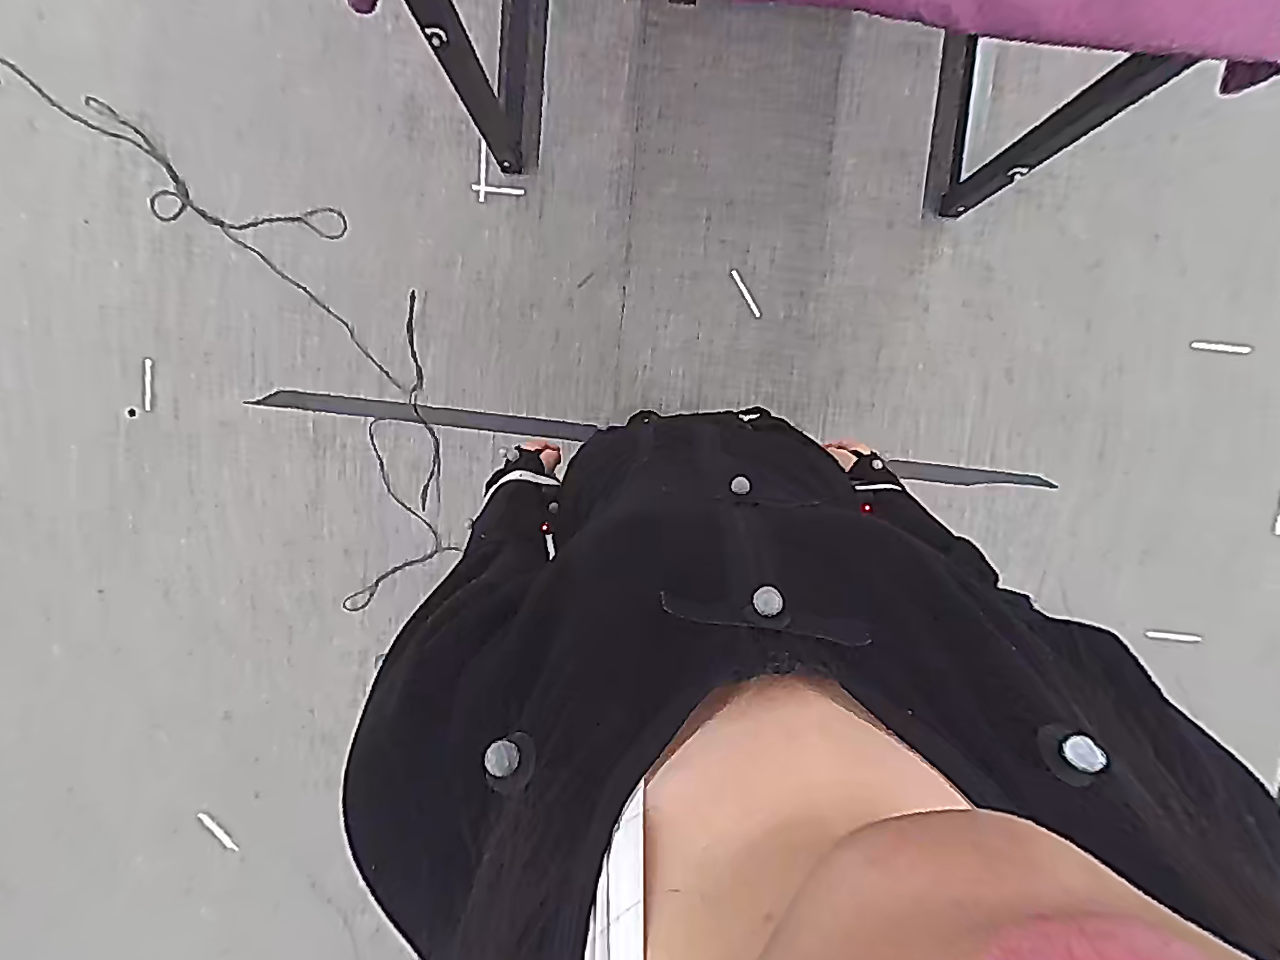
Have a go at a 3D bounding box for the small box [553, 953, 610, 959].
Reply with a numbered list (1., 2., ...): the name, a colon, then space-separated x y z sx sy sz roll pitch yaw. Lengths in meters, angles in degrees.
1. small box: -0.153 1.356 1.365 0.168 0.176 0.179 1 97 -1
